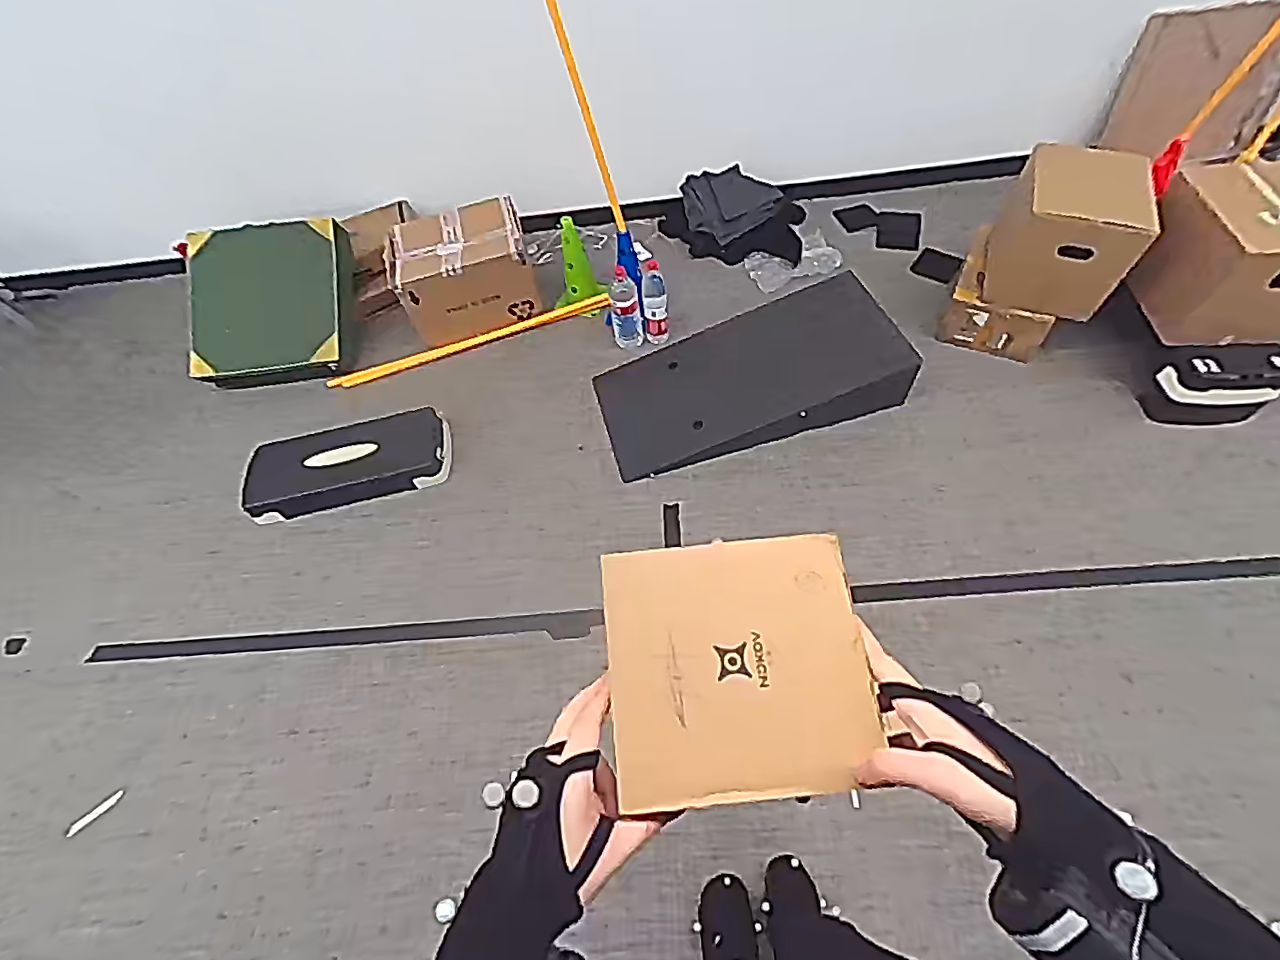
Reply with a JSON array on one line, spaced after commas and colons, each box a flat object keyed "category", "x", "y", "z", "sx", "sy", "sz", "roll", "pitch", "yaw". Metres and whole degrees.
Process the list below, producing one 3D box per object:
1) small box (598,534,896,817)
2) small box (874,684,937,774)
[{"category": "small box", "x": 0.063, "y": 0.149, "z": 0.425, "sx": 0.179, "sy": 0.176, "sz": 0.168, "roll": -5, "pitch": 67, "yaw": -1}, {"category": "small box", "x": 0.527, "y": 0.566, "z": 1.219, "sx": 0.179, "sy": 0.176, "sz": 0.168, "roll": -4, "pitch": 56, "yaw": 3}]
